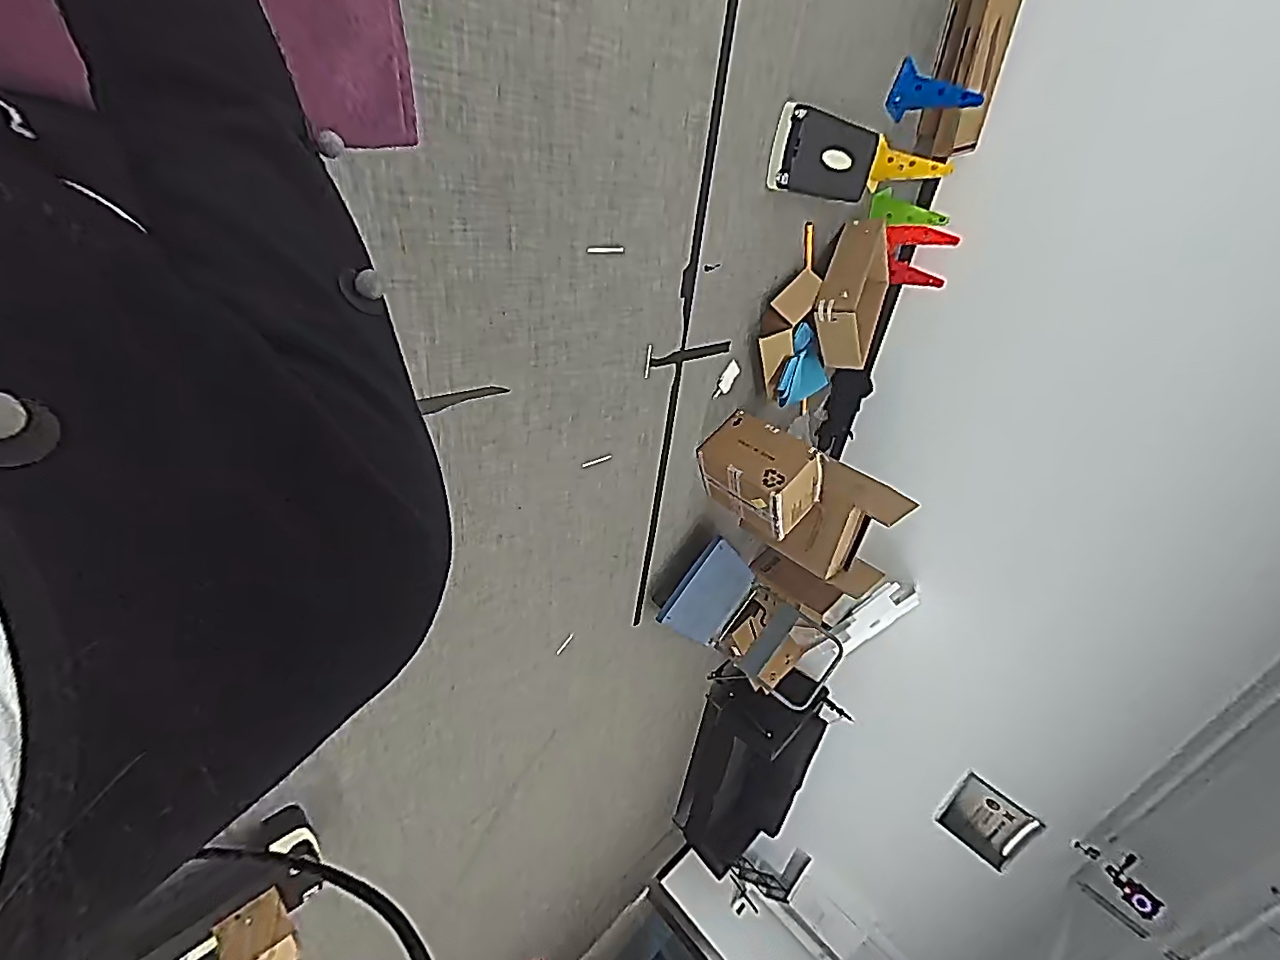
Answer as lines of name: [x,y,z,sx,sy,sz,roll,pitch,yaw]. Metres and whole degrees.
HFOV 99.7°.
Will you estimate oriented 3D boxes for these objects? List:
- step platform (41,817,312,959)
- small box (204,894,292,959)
step platform: [-1.413,1.399,1.669,0.684,0.204,0.286,-23,134,-41]
small box: [-1.194,1.422,1.649,0.168,0.176,0.179,-22,133,-41]
